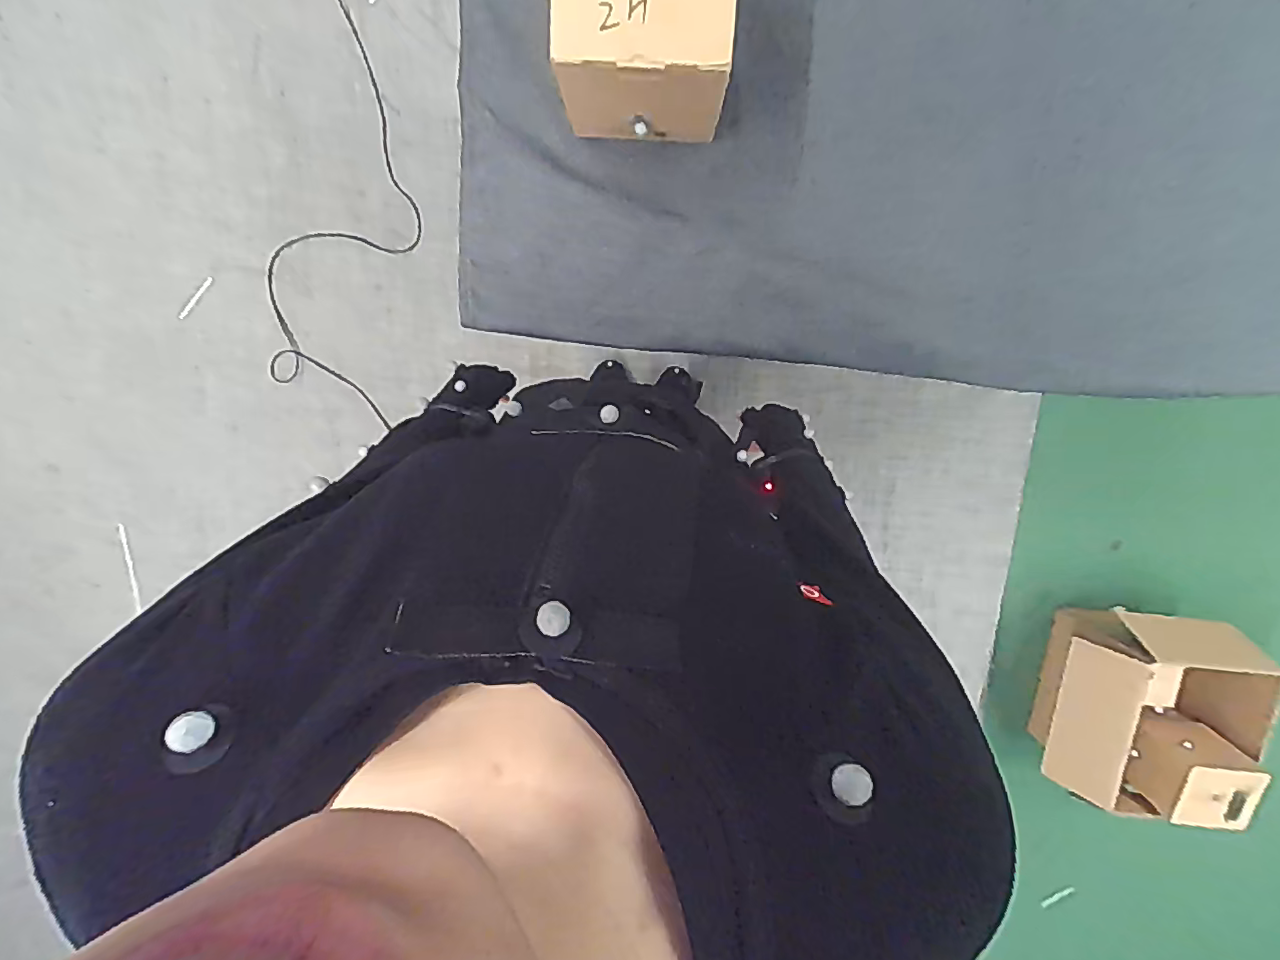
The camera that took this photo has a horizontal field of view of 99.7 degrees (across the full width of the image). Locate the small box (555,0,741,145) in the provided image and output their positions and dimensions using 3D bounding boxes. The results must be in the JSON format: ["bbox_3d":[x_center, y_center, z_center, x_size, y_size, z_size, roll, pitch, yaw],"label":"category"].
[{"bbox_3d":[0.011,-0.475,0.549,0.168,0.176,0.179,3,102,1],"label":"small box"}]
